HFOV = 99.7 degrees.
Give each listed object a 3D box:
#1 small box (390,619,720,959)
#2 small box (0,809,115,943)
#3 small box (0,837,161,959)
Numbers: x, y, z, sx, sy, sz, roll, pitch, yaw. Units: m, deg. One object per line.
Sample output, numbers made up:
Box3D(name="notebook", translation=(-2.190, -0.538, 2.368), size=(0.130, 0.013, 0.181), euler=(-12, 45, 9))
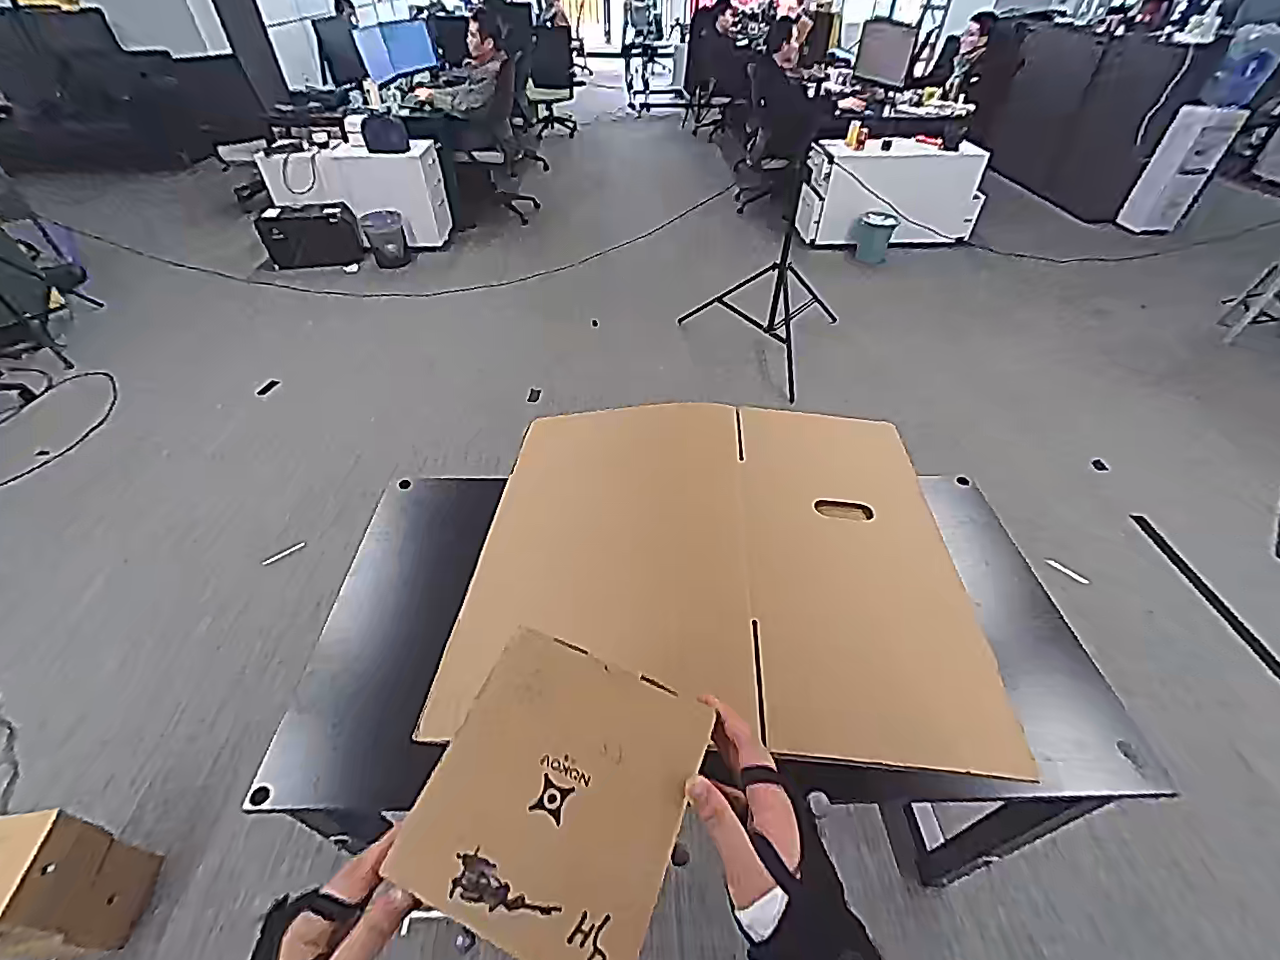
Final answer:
Box3D(name="small box", translation=(-0.050, 0.246, 0.427), size=(0.168, 0.176, 0.179), euler=(19, 56, 14))
Box3D(name="small box", translation=(-1.173, 0.758, 1.028), size=(0.168, 0.176, 0.179), euler=(-5, 43, -6))
Box3D(name="small box", translation=(-1.172, 0.880, 1.136), size=(0.168, 0.176, 0.179), euler=(-3, 45, -3))
